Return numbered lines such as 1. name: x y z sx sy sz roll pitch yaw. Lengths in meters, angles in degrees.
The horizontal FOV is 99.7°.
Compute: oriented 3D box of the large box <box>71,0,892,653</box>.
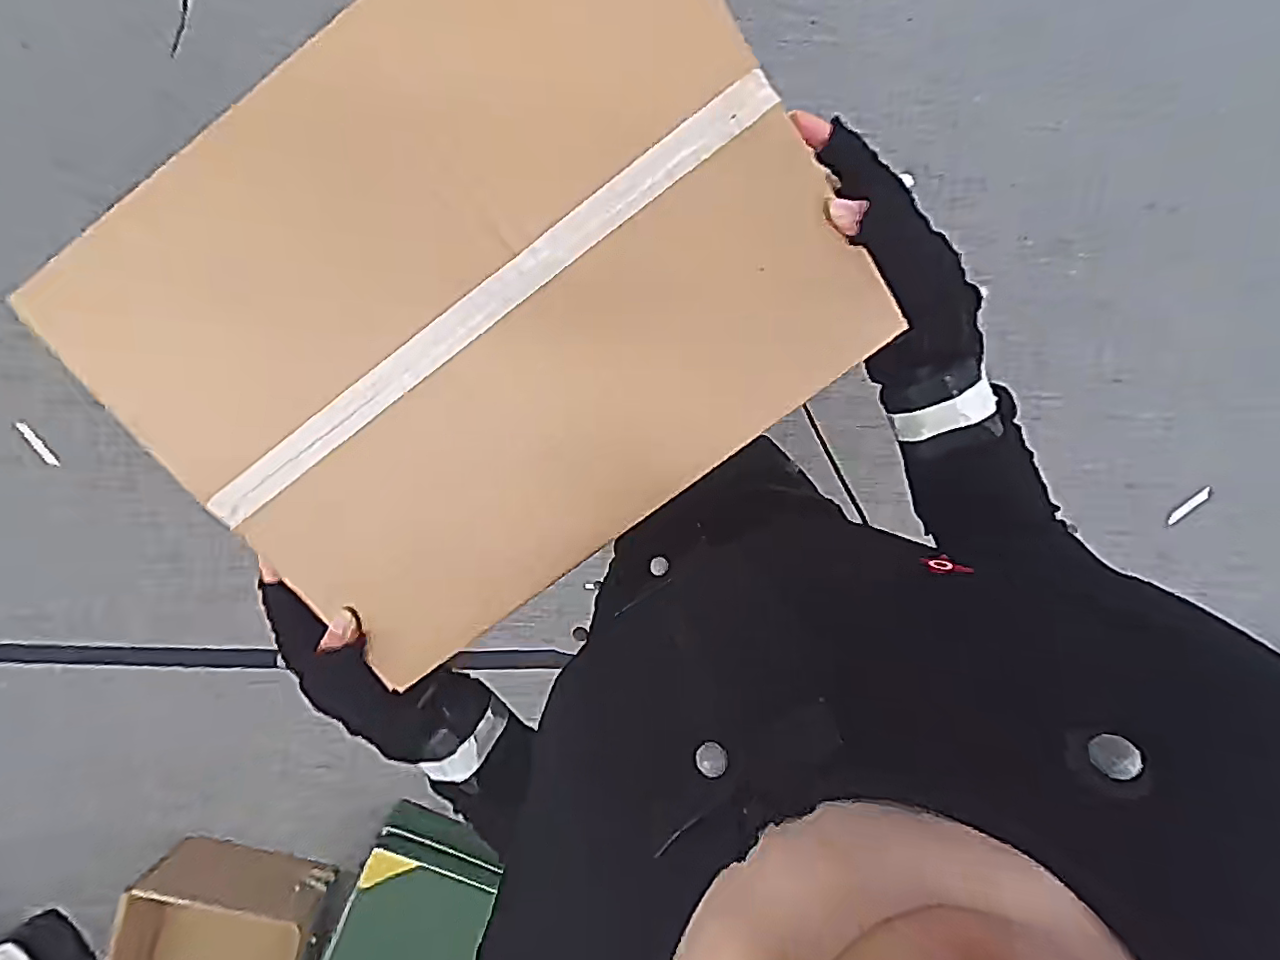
1. large box: -0.094 -0.142 0.471 0.408 0.320 0.320 -35 103 4
